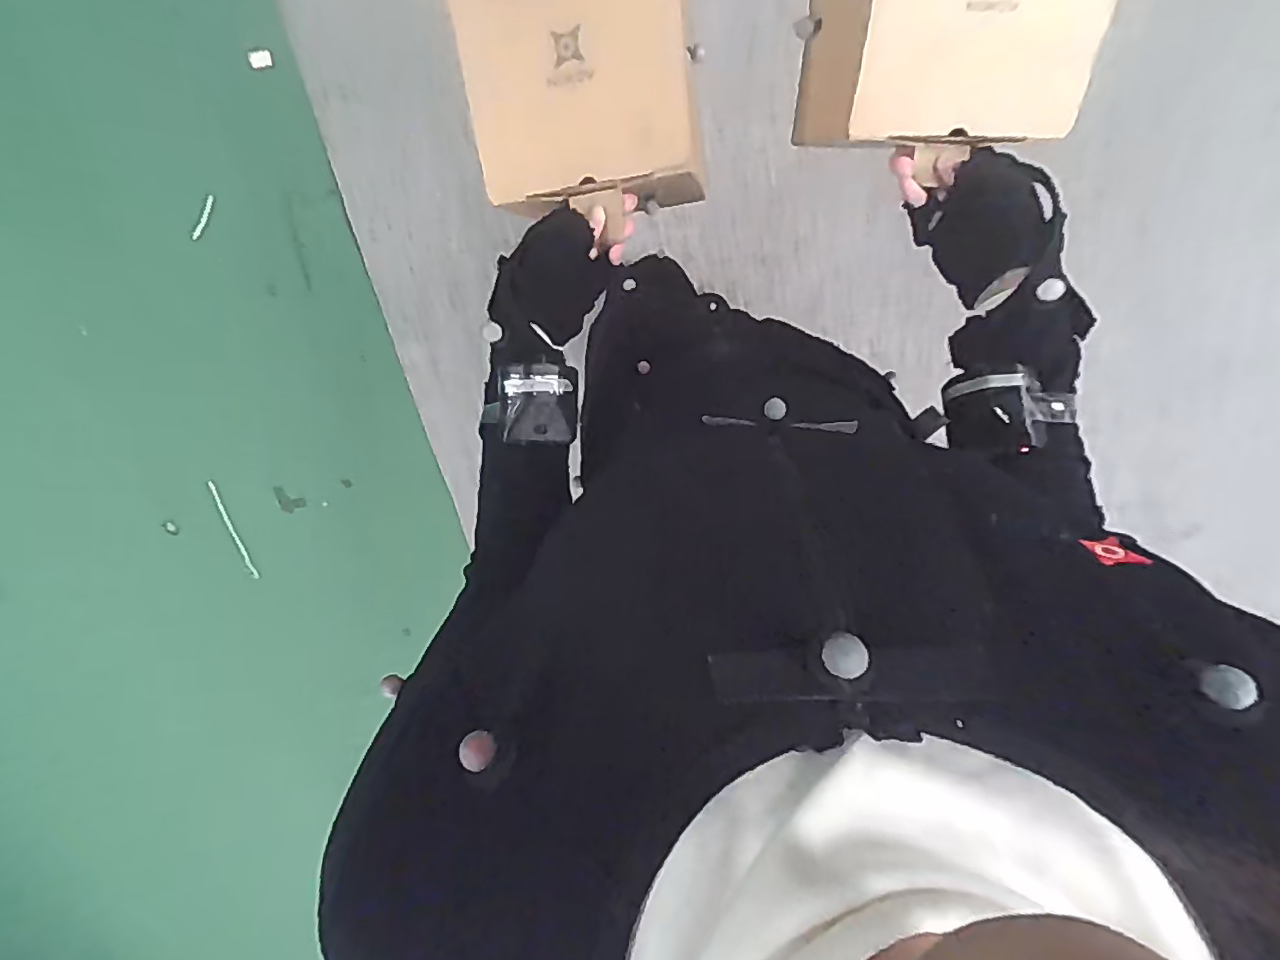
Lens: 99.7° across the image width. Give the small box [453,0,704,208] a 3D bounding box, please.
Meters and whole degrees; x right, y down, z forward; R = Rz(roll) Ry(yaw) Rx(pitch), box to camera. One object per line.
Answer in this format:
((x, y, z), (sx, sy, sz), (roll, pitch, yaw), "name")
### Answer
((-0.037, -0.342, 0.461), (0.168, 0.176, 0.179), (-5, 108, 11), "small box")
